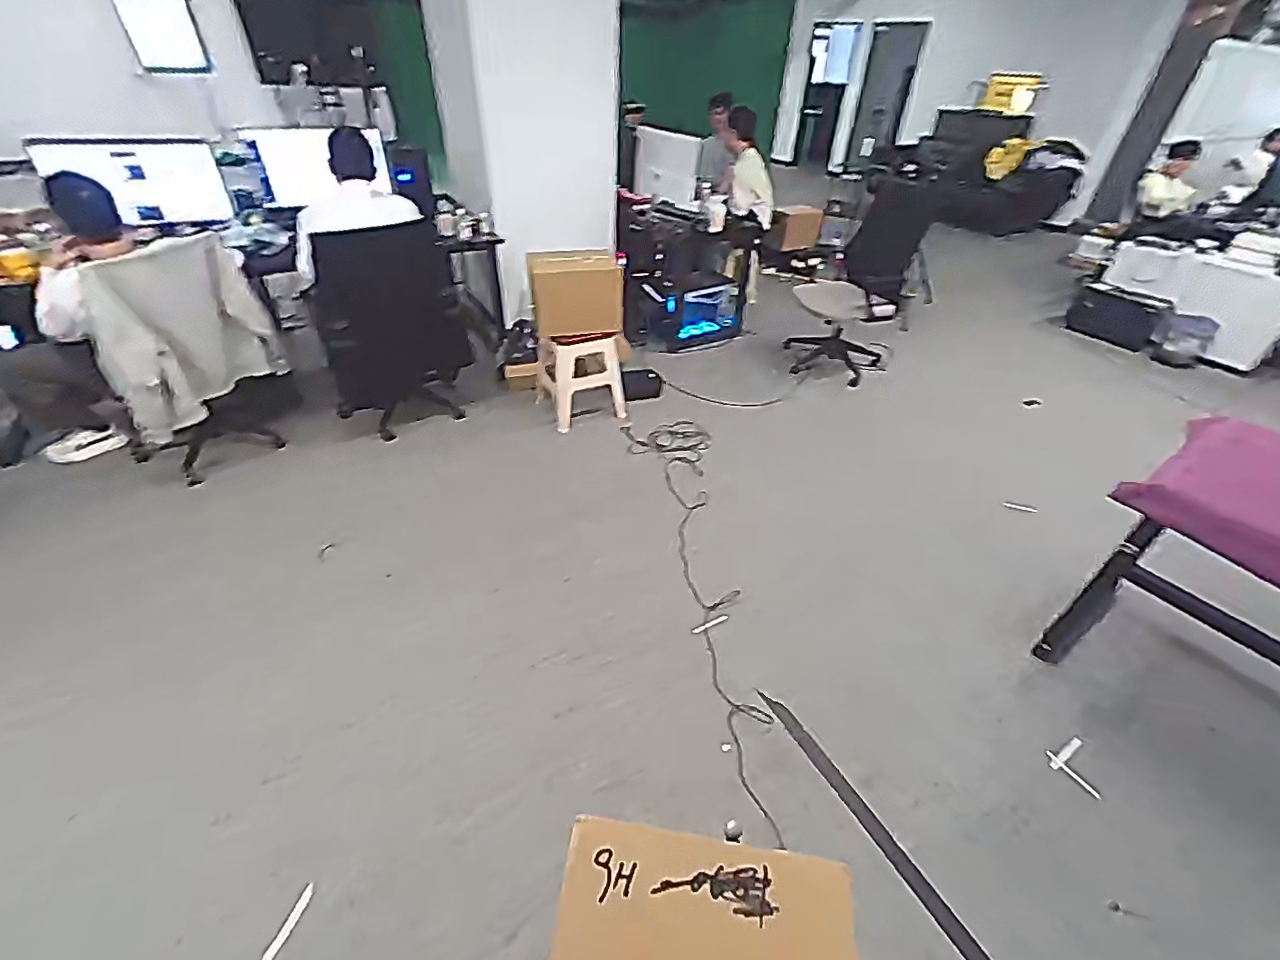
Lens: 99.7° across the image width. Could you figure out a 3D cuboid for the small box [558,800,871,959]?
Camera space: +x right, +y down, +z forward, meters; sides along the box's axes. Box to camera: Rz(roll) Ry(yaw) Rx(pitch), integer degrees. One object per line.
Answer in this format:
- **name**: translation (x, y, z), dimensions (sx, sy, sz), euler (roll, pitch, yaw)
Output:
- **small box**: translation (0.031, 0.319, 0.335), dimensions (0.168, 0.176, 0.179), euler (9, 54, 2)
